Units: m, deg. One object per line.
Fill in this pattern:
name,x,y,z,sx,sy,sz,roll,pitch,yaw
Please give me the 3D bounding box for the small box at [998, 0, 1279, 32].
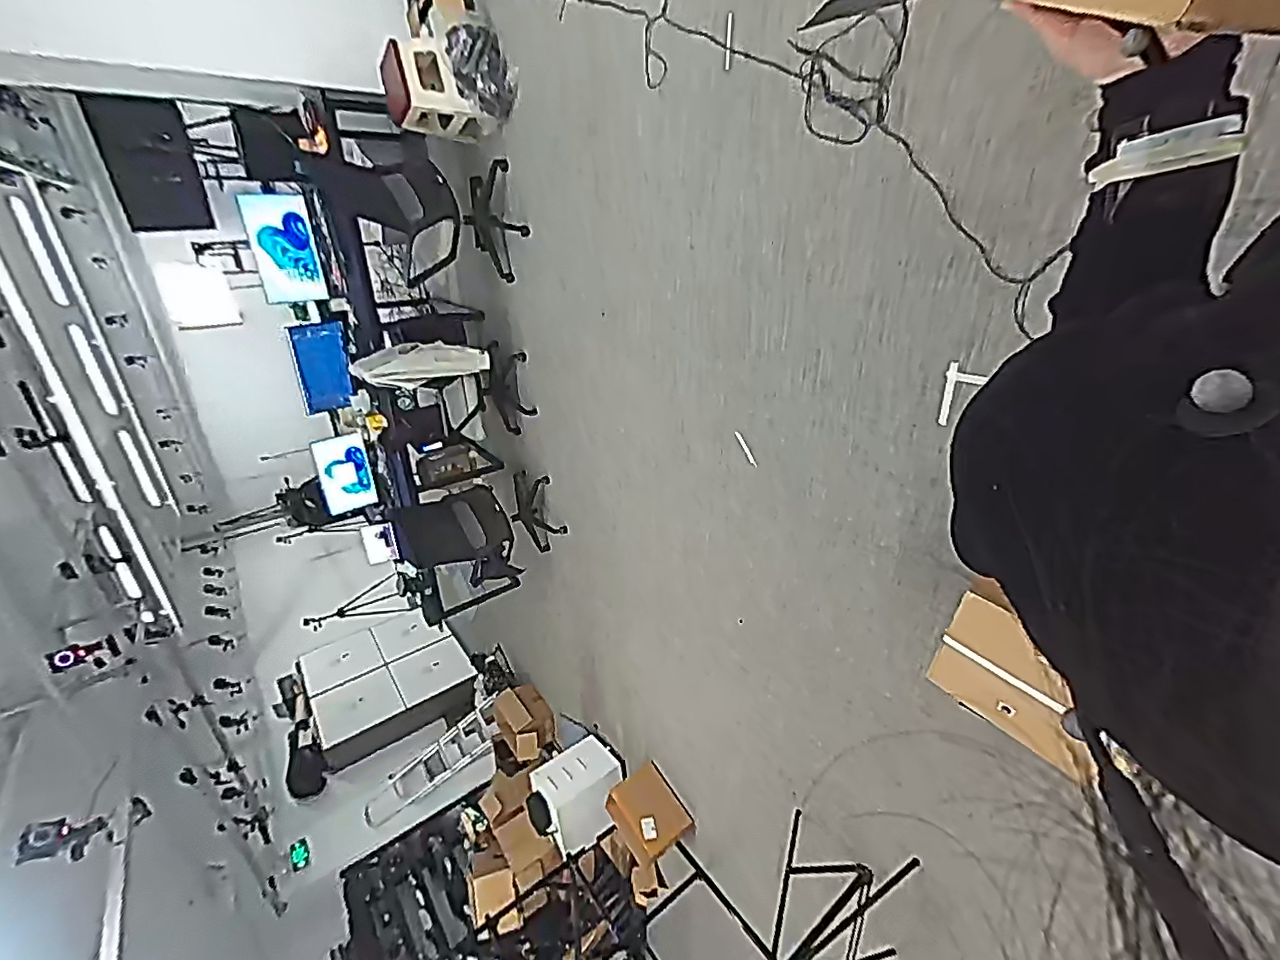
small box,0.254,-0.323,0.245,0.179,0.176,0.168,51,150,34
